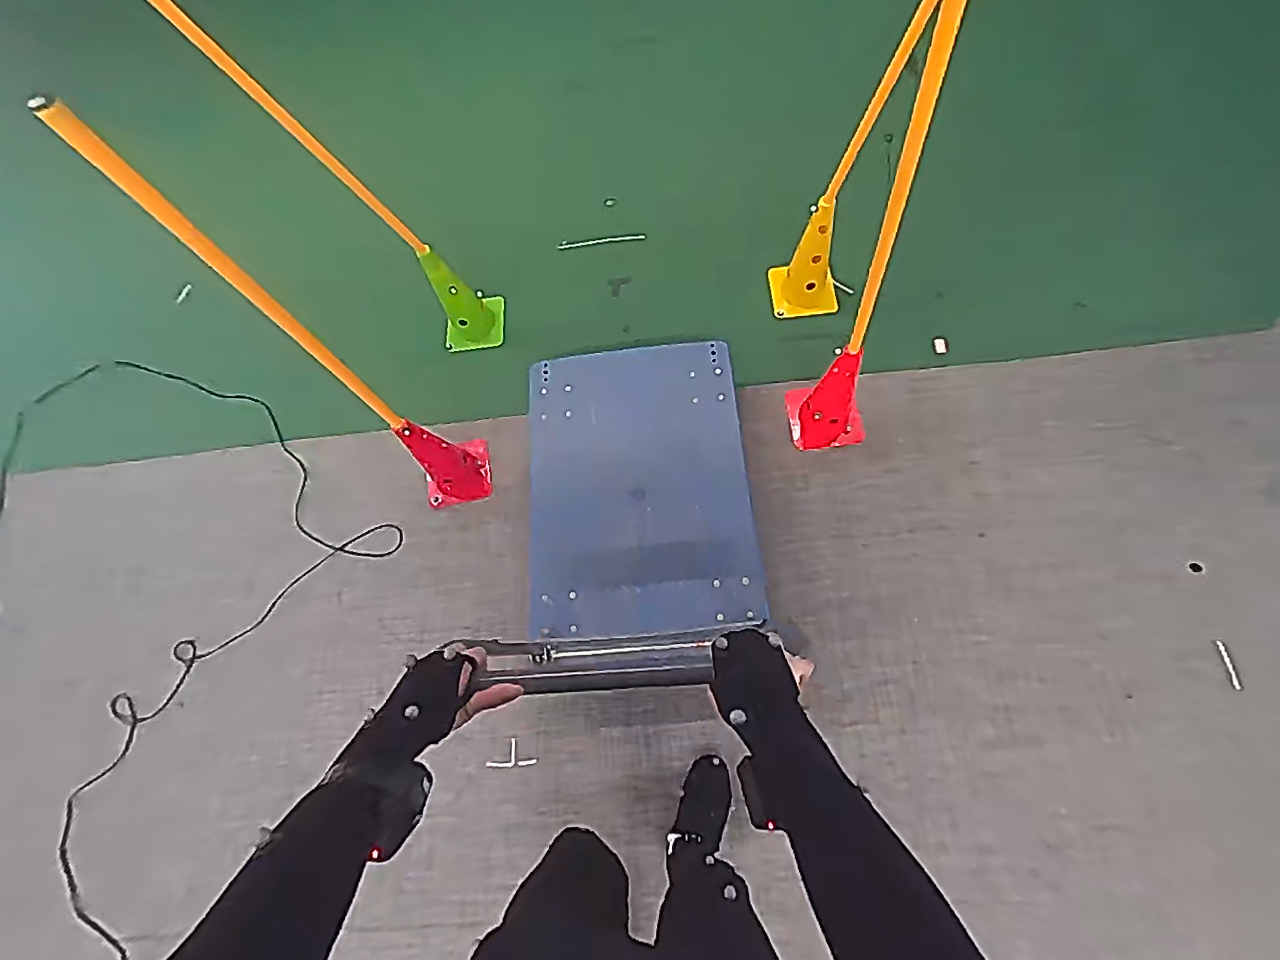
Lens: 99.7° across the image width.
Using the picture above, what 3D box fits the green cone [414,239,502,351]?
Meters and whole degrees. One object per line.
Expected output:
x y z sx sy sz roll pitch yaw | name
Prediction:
-0.590 -0.593 1.678 0.200 0.368 0.202 -6 68 5 | green cone

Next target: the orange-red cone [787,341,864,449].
0.520 -0.246 1.421 0.198 0.360 0.199 -5 68 4 | orange-red cone
